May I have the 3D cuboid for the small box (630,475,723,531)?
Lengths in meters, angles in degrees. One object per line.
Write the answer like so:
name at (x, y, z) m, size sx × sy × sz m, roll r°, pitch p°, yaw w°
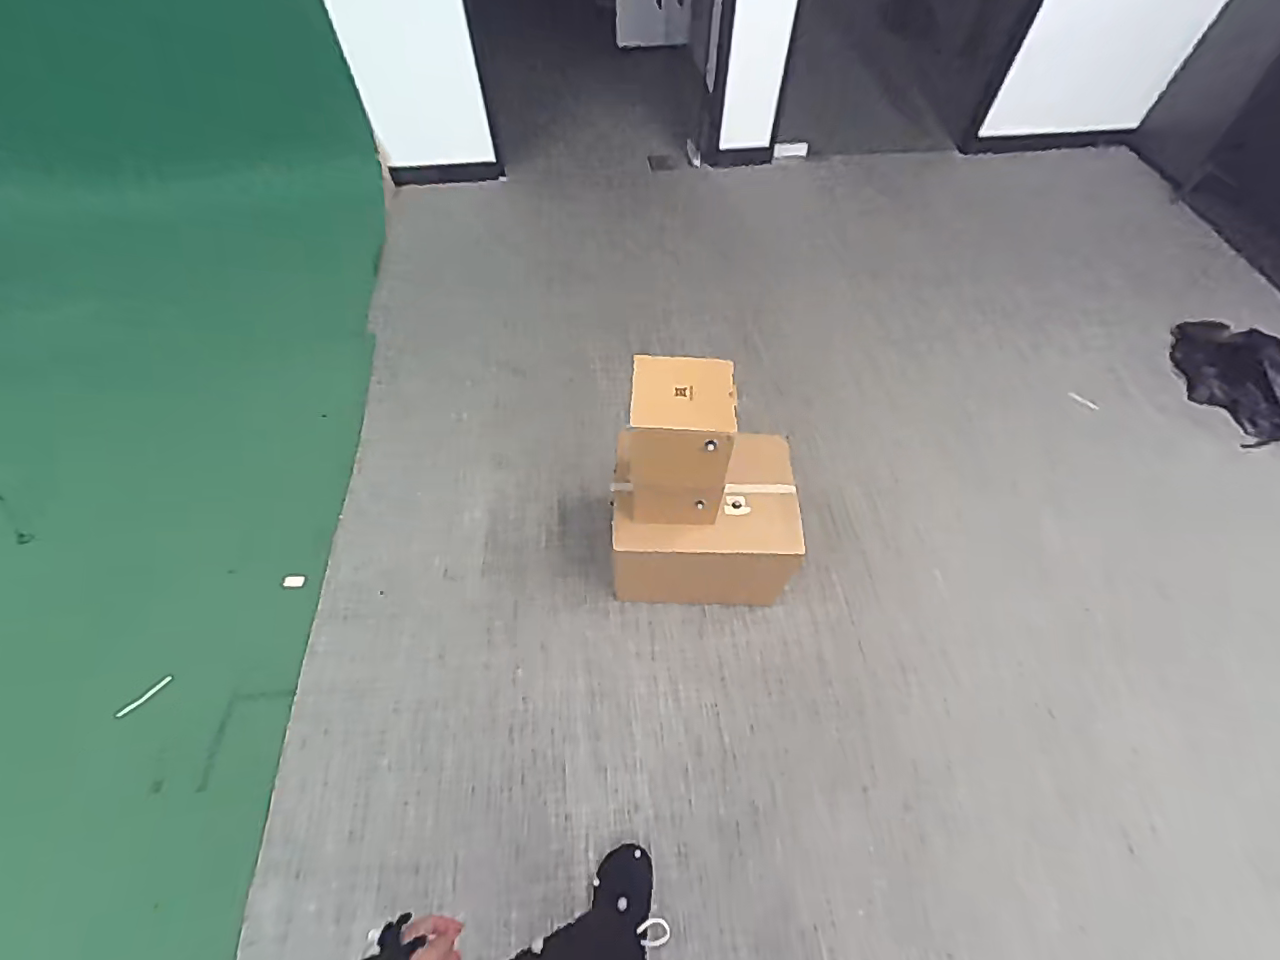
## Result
small box at (0.068, -0.005, 1.113) m, size 0.179 × 0.176 × 0.168 m, roll 0°, pitch 56°, yaw 0°

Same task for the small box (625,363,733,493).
small box at (0.065, -0.089, 0.973) m, size 0.179 × 0.176 × 0.168 m, roll 3°, pitch 56°, yaw 0°

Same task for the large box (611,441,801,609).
large box at (0.132, 0.118, 1.323) m, size 0.408 × 0.320 × 0.320 m, roll 1°, pitch 58°, yaw -2°
